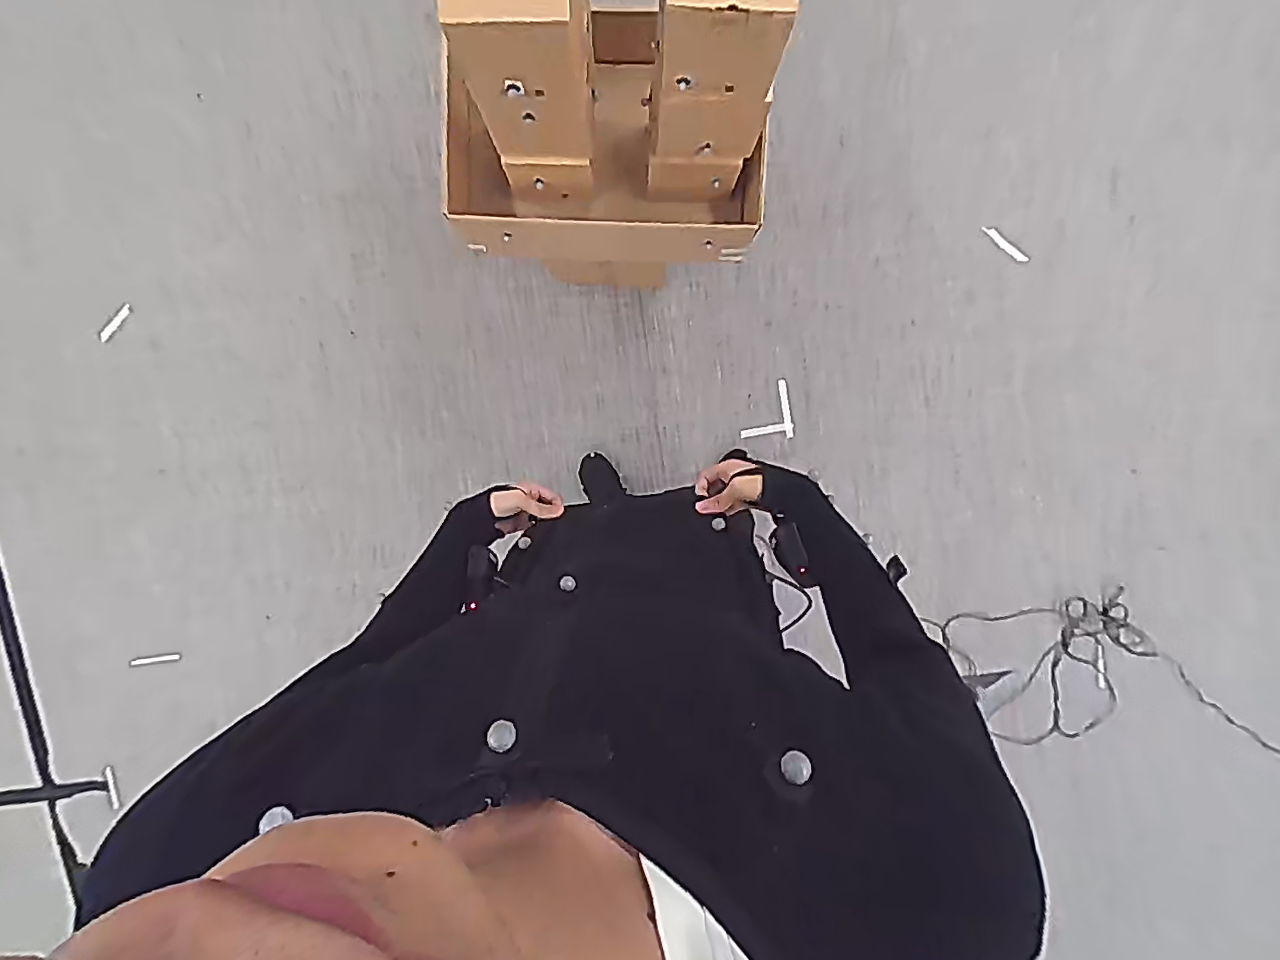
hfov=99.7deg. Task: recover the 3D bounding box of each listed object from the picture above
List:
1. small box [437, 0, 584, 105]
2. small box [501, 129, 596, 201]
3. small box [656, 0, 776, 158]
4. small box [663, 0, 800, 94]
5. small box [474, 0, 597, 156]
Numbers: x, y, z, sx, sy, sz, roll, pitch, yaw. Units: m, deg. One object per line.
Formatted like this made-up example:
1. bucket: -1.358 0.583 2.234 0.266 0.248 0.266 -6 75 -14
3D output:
1. small box: -0.167 -0.653 0.734 0.168 0.176 0.179 -1 93 0
2. small box: -0.173 -0.670 1.062 0.168 0.176 0.179 0 94 -2
3. small box: 0.118 -0.661 0.900 0.179 0.176 0.168 -1 94 0
4. small box: 0.120 -0.664 0.733 0.168 0.176 0.179 3 94 -1
5. small box: -0.166 -0.666 0.898 0.179 0.176 0.168 1 94 -2
